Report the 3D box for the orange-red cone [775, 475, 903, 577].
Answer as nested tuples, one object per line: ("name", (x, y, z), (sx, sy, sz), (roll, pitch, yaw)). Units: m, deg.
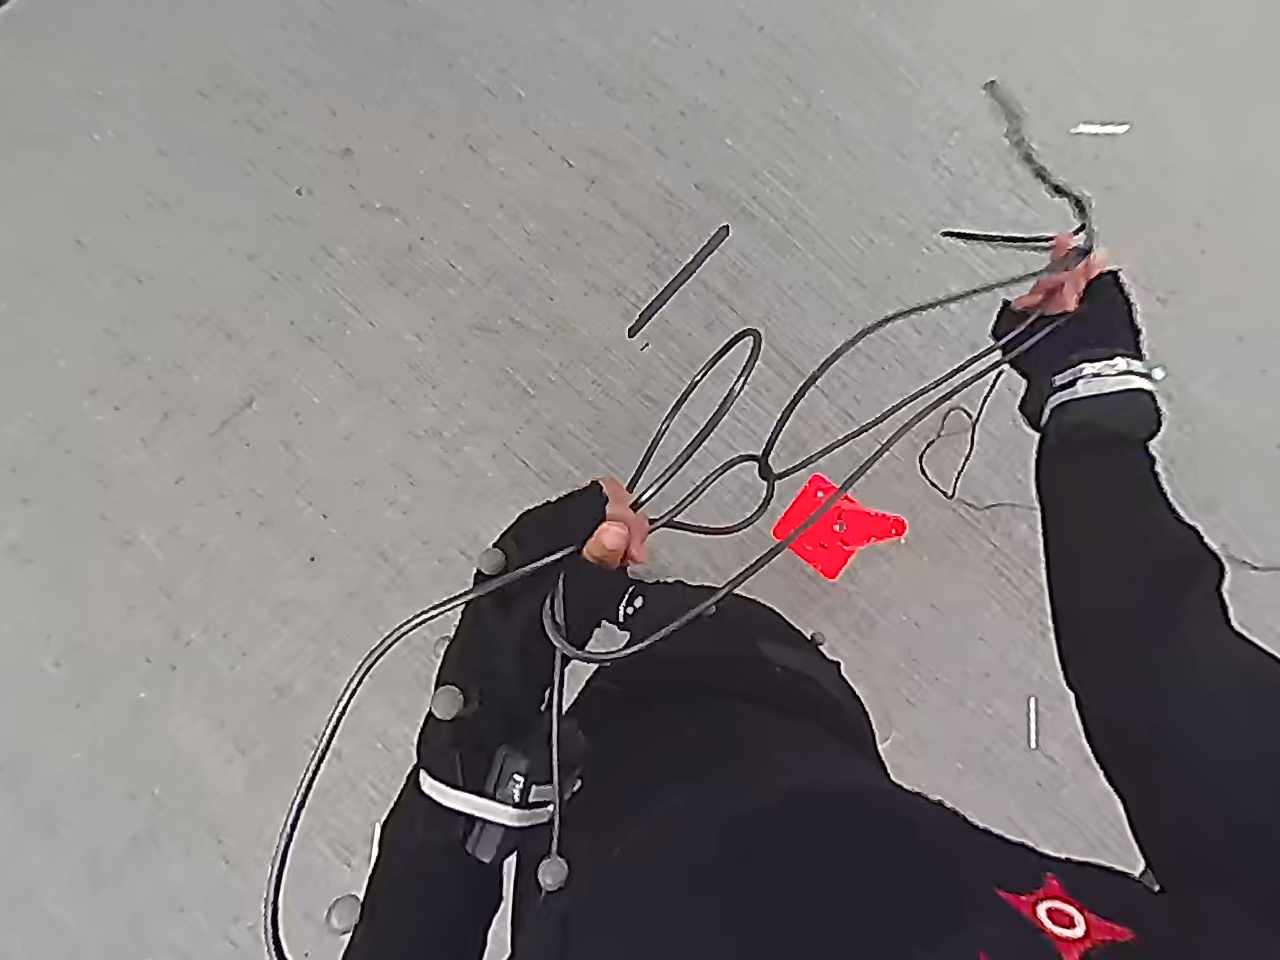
("orange-red cone", (0.457, 0.098, 1.152), (0.198, 0.360, 0.199), (38, 86, 2))
